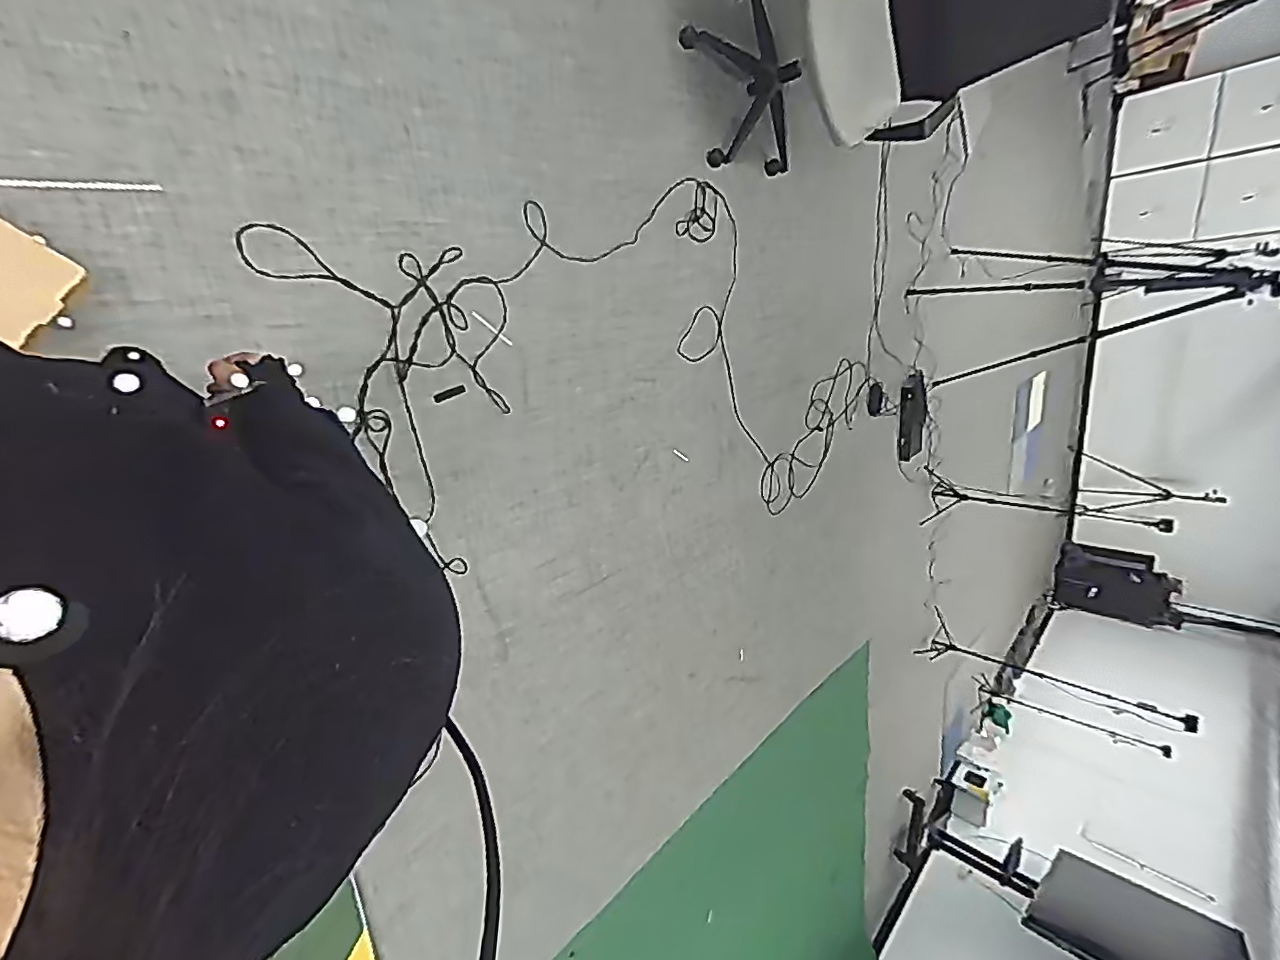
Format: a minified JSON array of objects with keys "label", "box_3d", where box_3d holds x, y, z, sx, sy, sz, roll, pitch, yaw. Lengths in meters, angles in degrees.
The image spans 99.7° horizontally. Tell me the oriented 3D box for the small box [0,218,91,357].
[{"label":"small box","box_3d":[-0.989,-0.306,0.818,0.179,0.176,0.168,40,70,-40]}]
